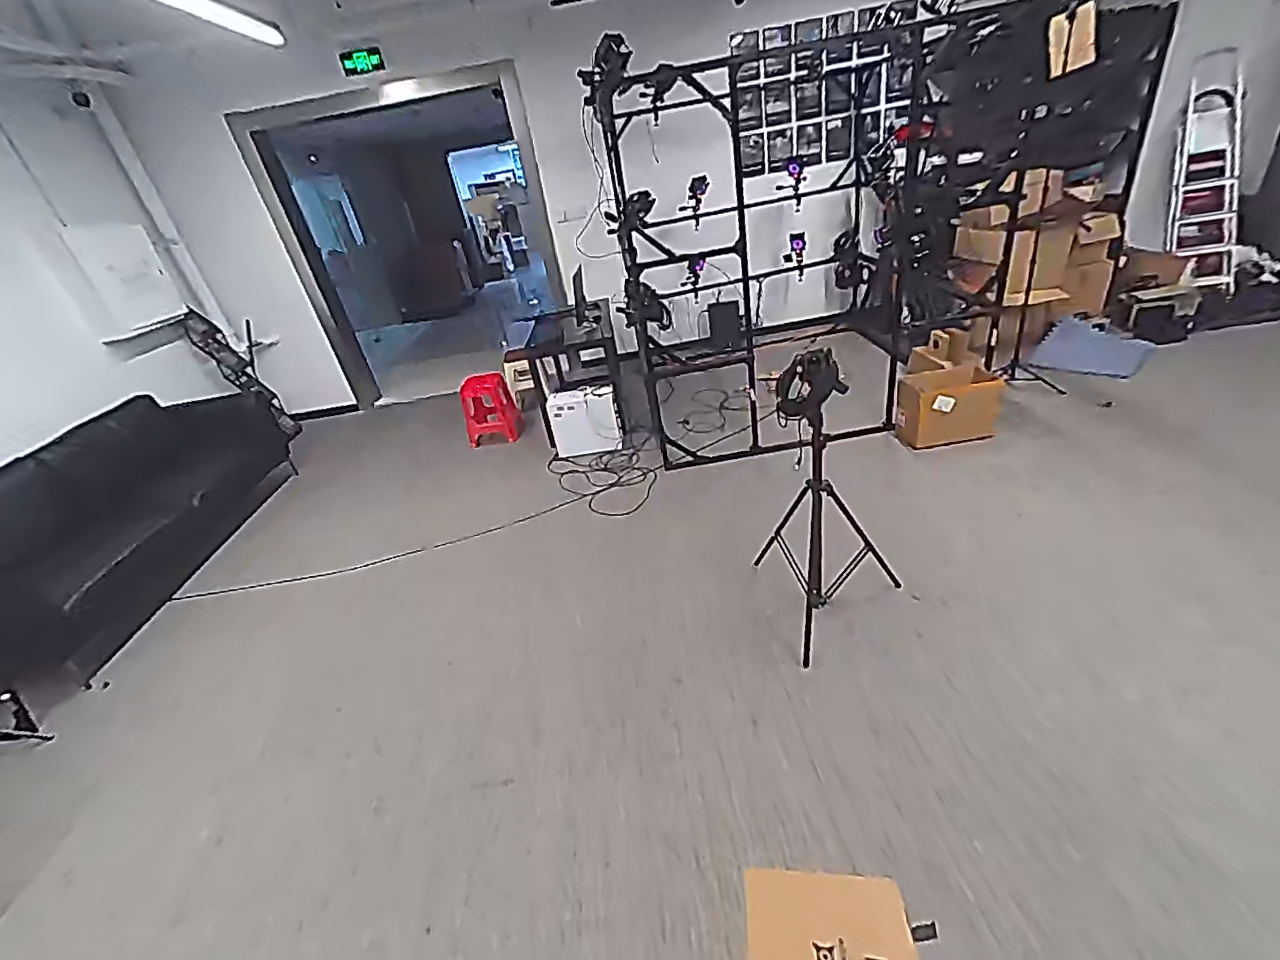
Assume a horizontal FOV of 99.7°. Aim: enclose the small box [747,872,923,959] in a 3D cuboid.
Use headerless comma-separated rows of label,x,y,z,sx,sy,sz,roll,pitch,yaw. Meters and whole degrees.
small box,0.209,0.569,0.588,0.179,0.176,0.168,0,26,8
